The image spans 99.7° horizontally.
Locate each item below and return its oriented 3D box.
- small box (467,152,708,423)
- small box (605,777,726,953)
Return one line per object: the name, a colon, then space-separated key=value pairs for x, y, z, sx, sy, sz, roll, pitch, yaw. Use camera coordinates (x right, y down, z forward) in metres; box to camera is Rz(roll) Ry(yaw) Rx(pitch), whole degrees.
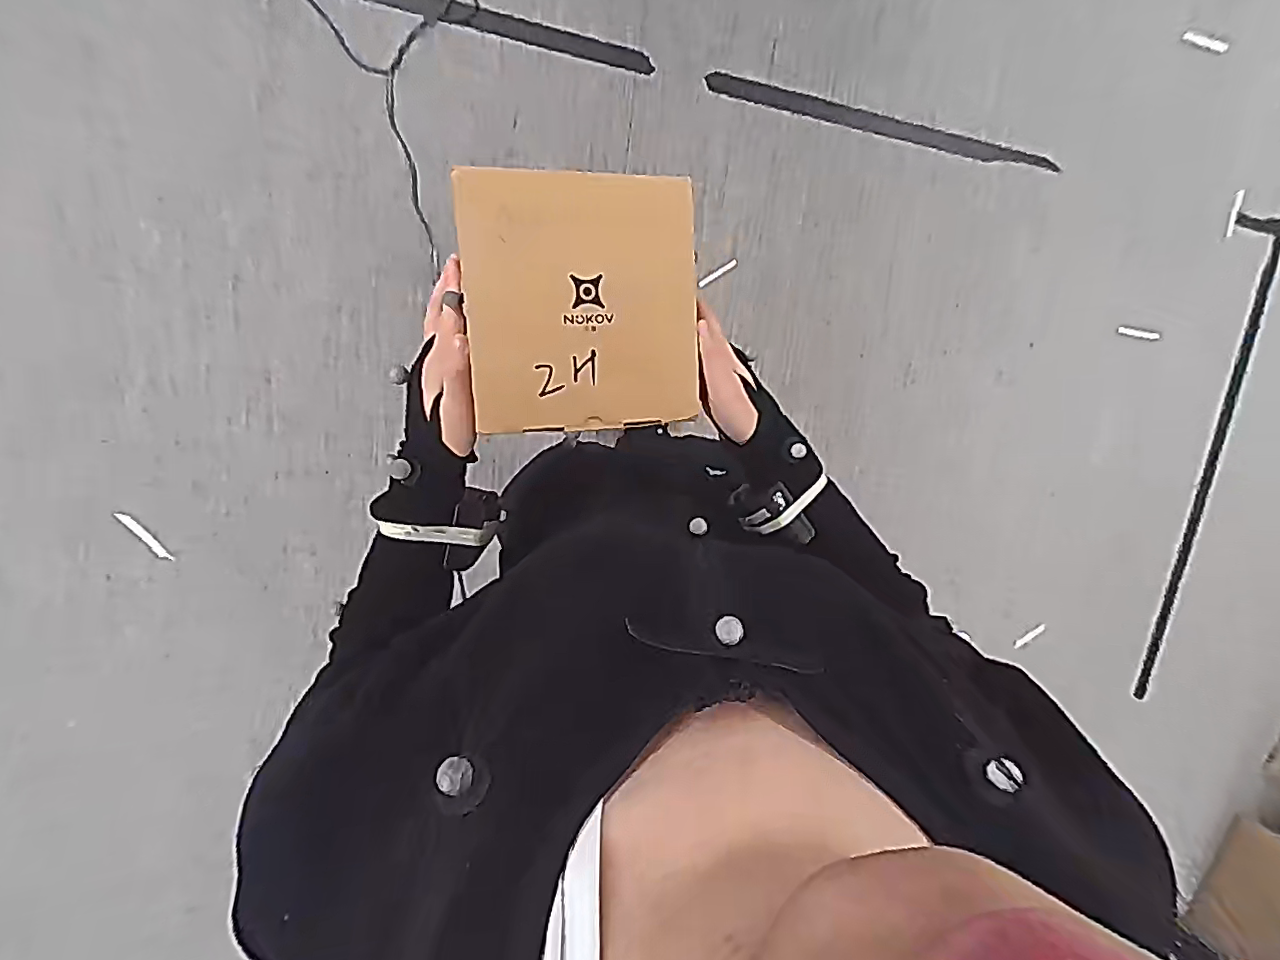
small box: x=-0.051 y=-0.142 z=0.453 sx=0.168 sy=0.176 sz=0.179 roll=-5 pitch=101 yaw=-14
small box: x=0.033 y=0.633 z=0.906 sx=0.168 sy=0.176 sz=0.179 roll=3 pitch=99 yaw=-10
